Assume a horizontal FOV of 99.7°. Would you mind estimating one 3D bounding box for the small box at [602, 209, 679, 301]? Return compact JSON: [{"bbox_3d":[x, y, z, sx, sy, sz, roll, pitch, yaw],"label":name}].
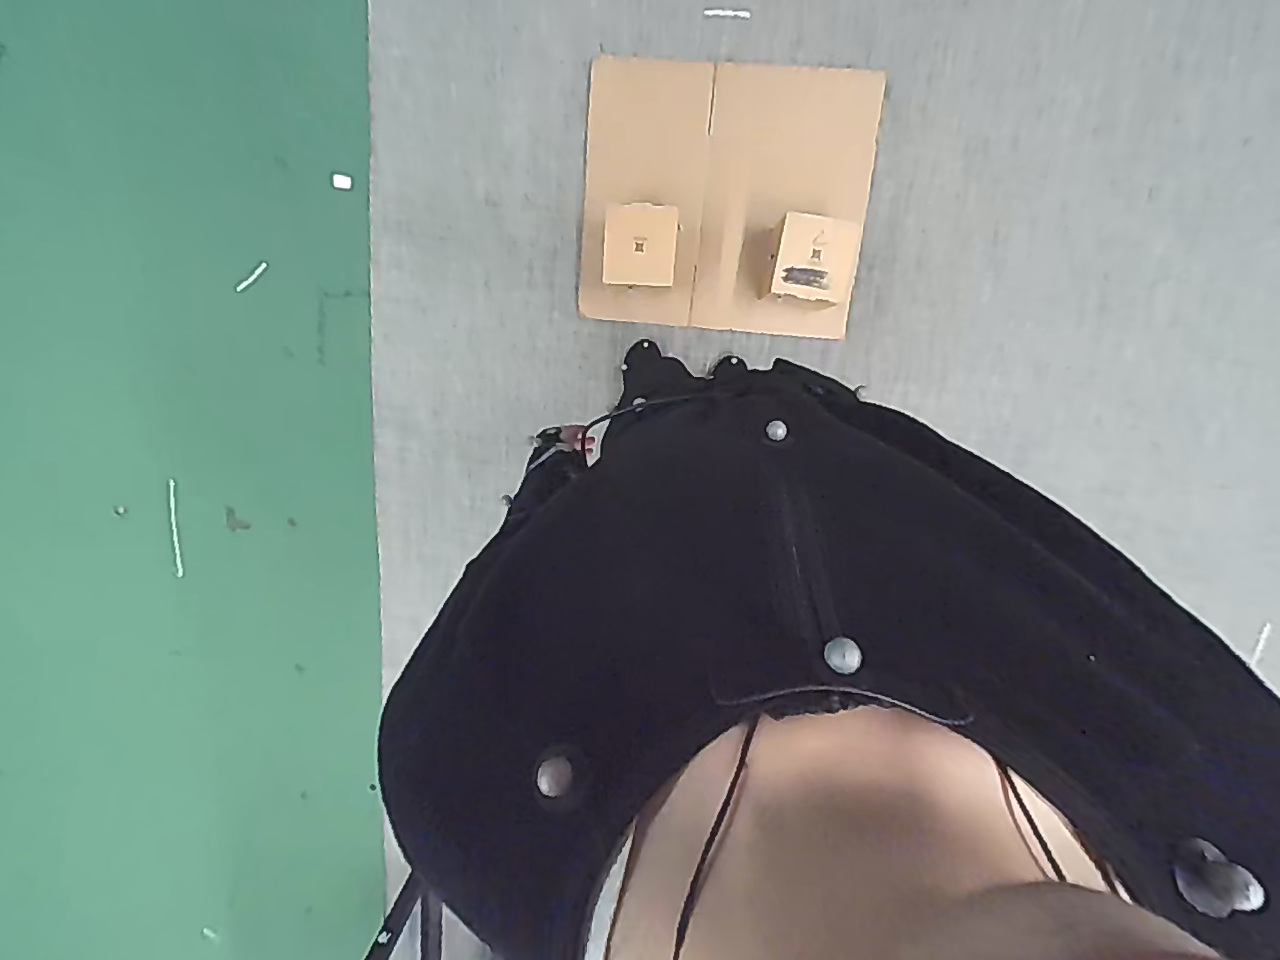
[{"bbox_3d":[0.005,-0.534,1.302,0.168,0.176,0.179,4,101,3],"label":"small box"}]
